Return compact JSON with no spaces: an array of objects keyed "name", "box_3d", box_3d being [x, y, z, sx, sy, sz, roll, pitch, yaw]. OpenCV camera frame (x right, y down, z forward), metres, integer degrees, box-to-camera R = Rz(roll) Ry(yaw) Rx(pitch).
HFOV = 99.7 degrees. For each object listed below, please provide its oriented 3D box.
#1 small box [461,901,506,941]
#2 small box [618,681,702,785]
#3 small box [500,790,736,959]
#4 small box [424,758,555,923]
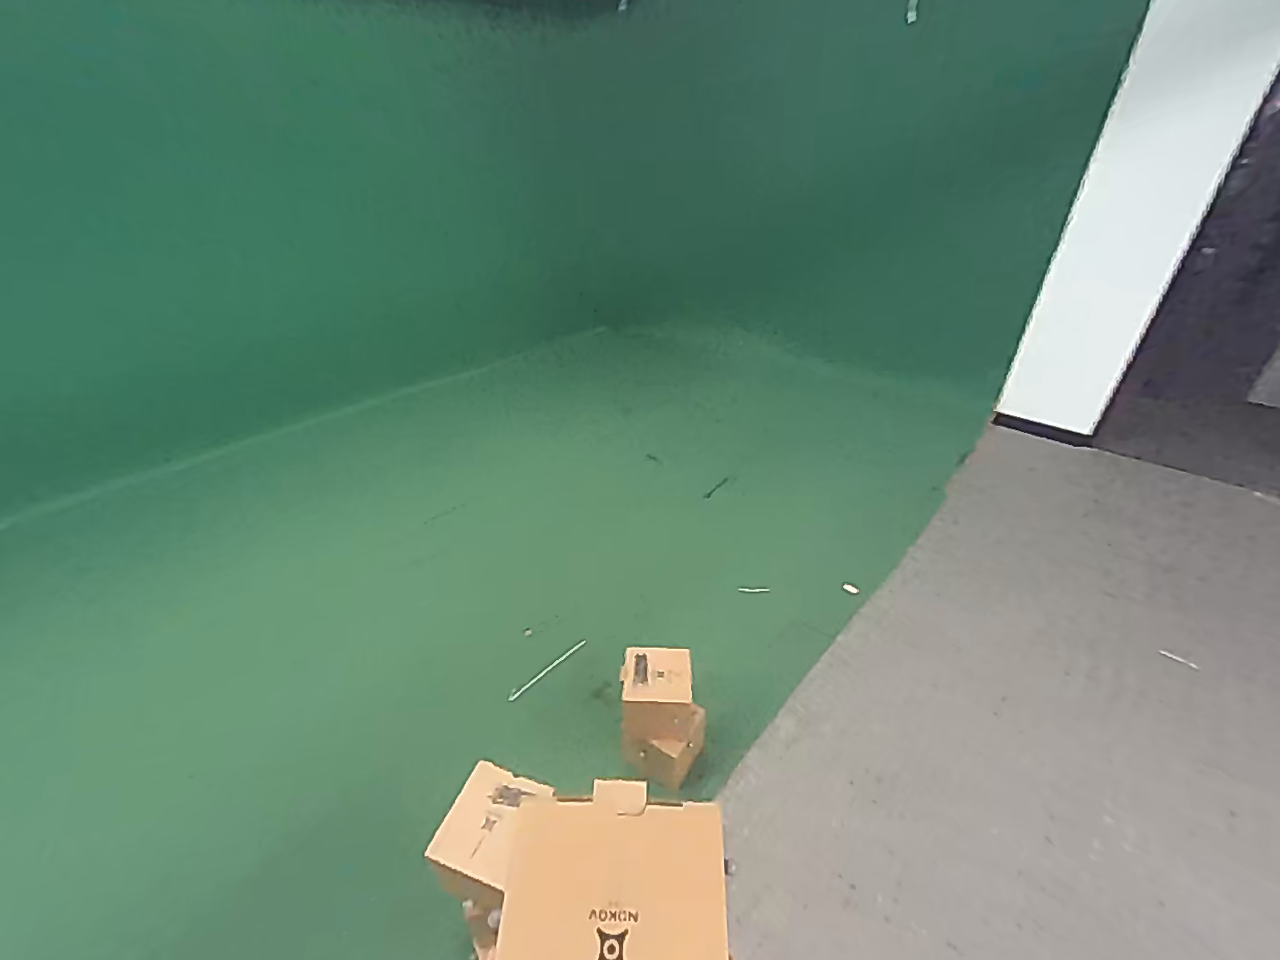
[{"name":"small box","box_3d":[-0.259,0.797,1.099,0.168,0.176,0.179,-5,34,-9]},{"name":"small box","box_3d":[0.056,0.709,1.516,0.179,0.176,0.168,19,38,28]},{"name":"small box","box_3d":[-0.013,0.372,0.439,0.168,0.176,0.179,2,49,2]},{"name":"small box","box_3d":[-0.265,0.664,1.001,0.168,0.176,0.179,12,37,15]}]
